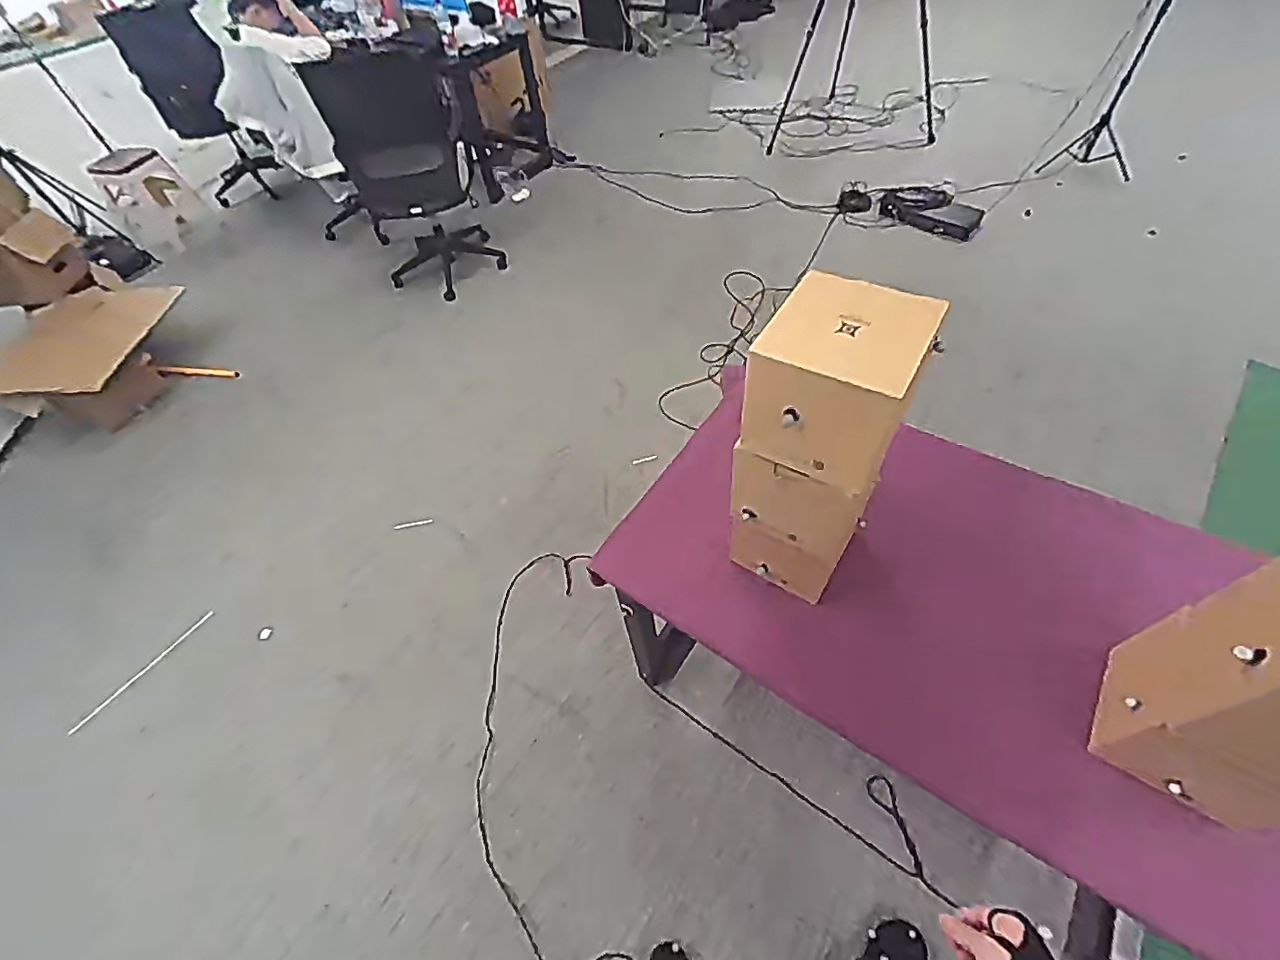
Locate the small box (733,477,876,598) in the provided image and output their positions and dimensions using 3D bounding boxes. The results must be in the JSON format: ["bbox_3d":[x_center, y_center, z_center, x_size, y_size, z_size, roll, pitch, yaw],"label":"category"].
[{"bbox_3d":[0.267,0.064,0.910,0.168,0.176,0.179,27,61,24],"label":"small box"}]

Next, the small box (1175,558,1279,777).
[{"bbox_3d":[0.705,0.208,0.550,0.168,0.176,0.179,28,61,24],"label":"small box"}]

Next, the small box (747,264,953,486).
[{"bbox_3d":[0.237,-0.123,0.645,0.168,0.176,0.179,25,58,23],"label":"small box"}]

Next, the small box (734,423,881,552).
[{"bbox_3d":[0.247,-0.028,0.776,0.168,0.176,0.179,27,59,24],"label":"small box"}]
